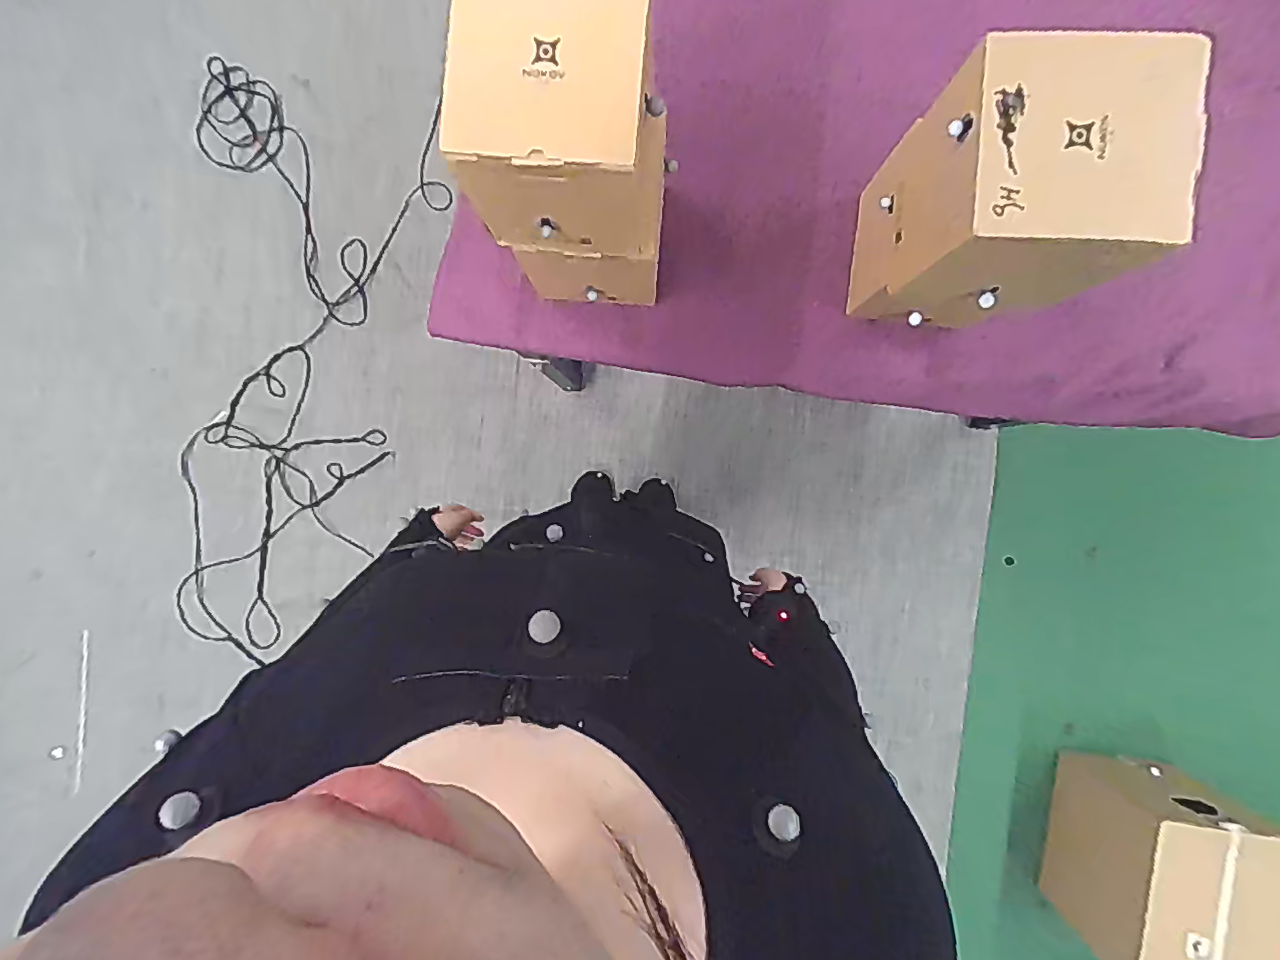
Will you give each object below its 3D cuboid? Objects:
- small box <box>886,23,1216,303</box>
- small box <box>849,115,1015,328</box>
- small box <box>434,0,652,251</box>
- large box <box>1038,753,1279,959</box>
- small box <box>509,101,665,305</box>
[{"bbox_3d":[0.359,-0.273,0.506,0.179,0.176,0.168,4,92,2],"label":"small box"},{"bbox_3d":[0.375,-0.304,0.669,0.168,0.176,0.179,7,92,2],"label":"small box"},{"bbox_3d":[-0.077,-0.346,0.517,0.168,0.176,0.179,5,90,1],"label":"small box"},{"bbox_3d":[1.259,0.954,1.328,0.320,0.320,0.408,8,92,2],"label":"large box"},{"bbox_3d":[-0.059,-0.339,0.678,0.168,0.176,0.179,5,90,2],"label":"small box"}]
